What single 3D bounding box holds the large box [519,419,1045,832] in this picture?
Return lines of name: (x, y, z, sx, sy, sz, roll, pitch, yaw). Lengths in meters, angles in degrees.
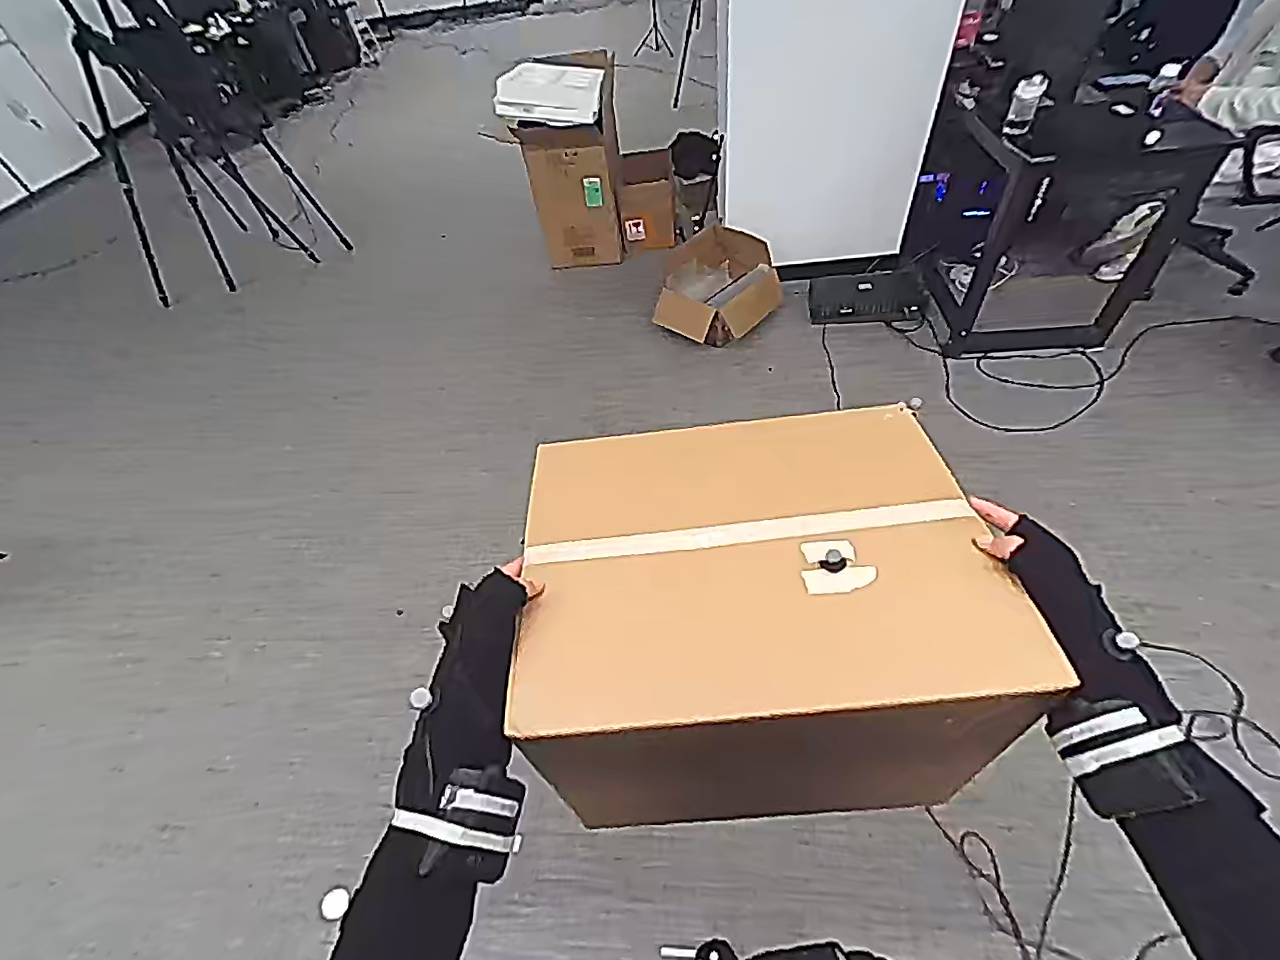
large box: (0.109, 0.167, 0.610, 0.408, 0.320, 0.320, -7, 46, 3)
